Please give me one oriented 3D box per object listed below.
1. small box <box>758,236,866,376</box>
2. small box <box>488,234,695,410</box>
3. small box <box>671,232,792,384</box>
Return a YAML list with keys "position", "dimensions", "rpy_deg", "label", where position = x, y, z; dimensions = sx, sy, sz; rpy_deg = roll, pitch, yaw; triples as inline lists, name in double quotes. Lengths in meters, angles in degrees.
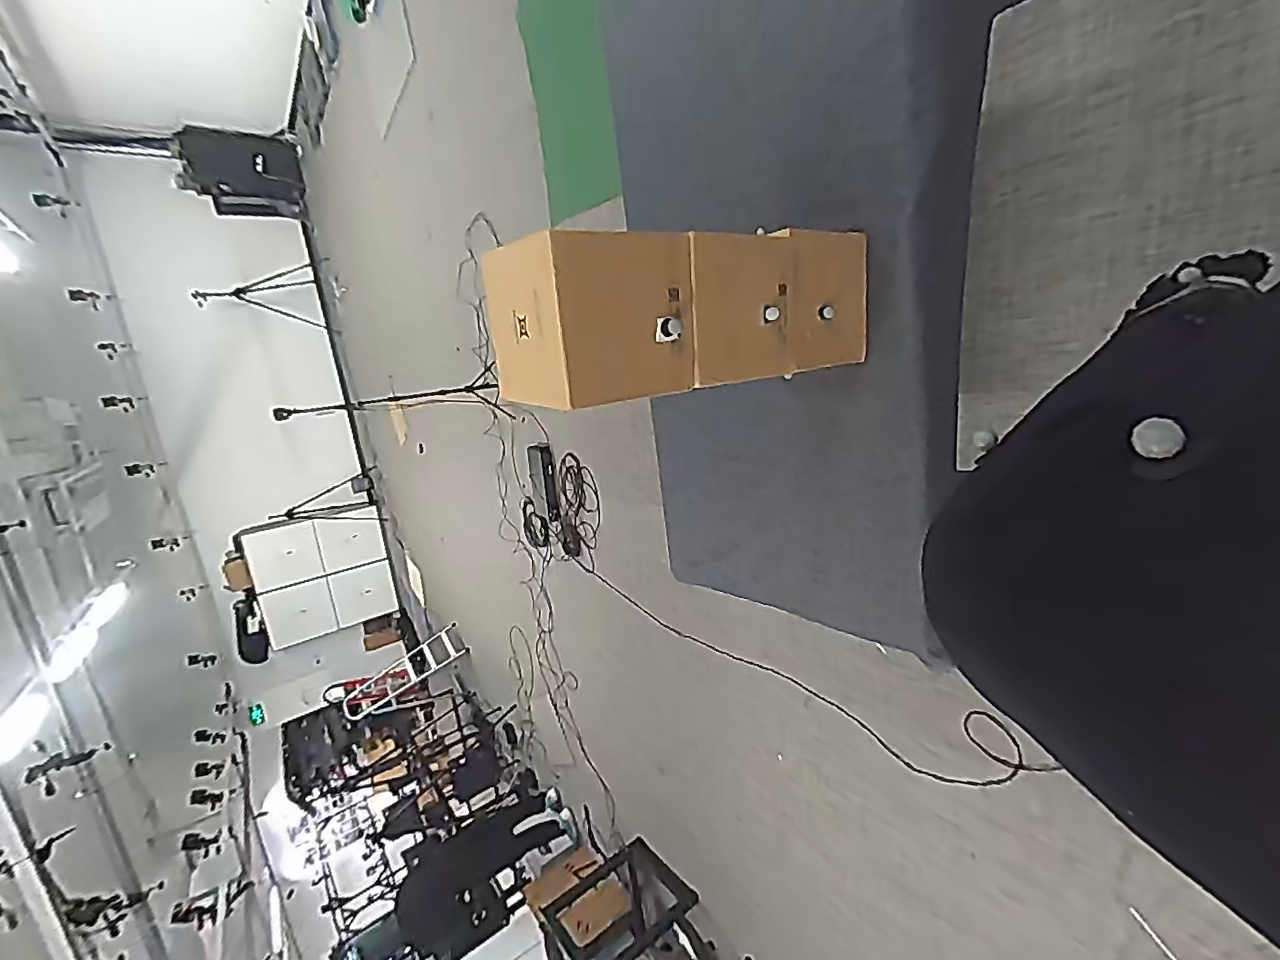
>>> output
- position: [0.214, -0.252, 0.797]
  dimensions: [0.168, 0.176, 0.179]
  rpy_deg: [13, 114, 54]
  label: "small box"
- position: [-0.055, -0.181, 0.626]
  dimensions: [0.179, 0.176, 0.168]
  rpy_deg: [16, 117, 52]
  label: "small box"
- position: [0.078, -0.217, 0.711]
  dimensions: [0.179, 0.176, 0.168]
  rpy_deg: [14, 114, 55]
  label: "small box"
